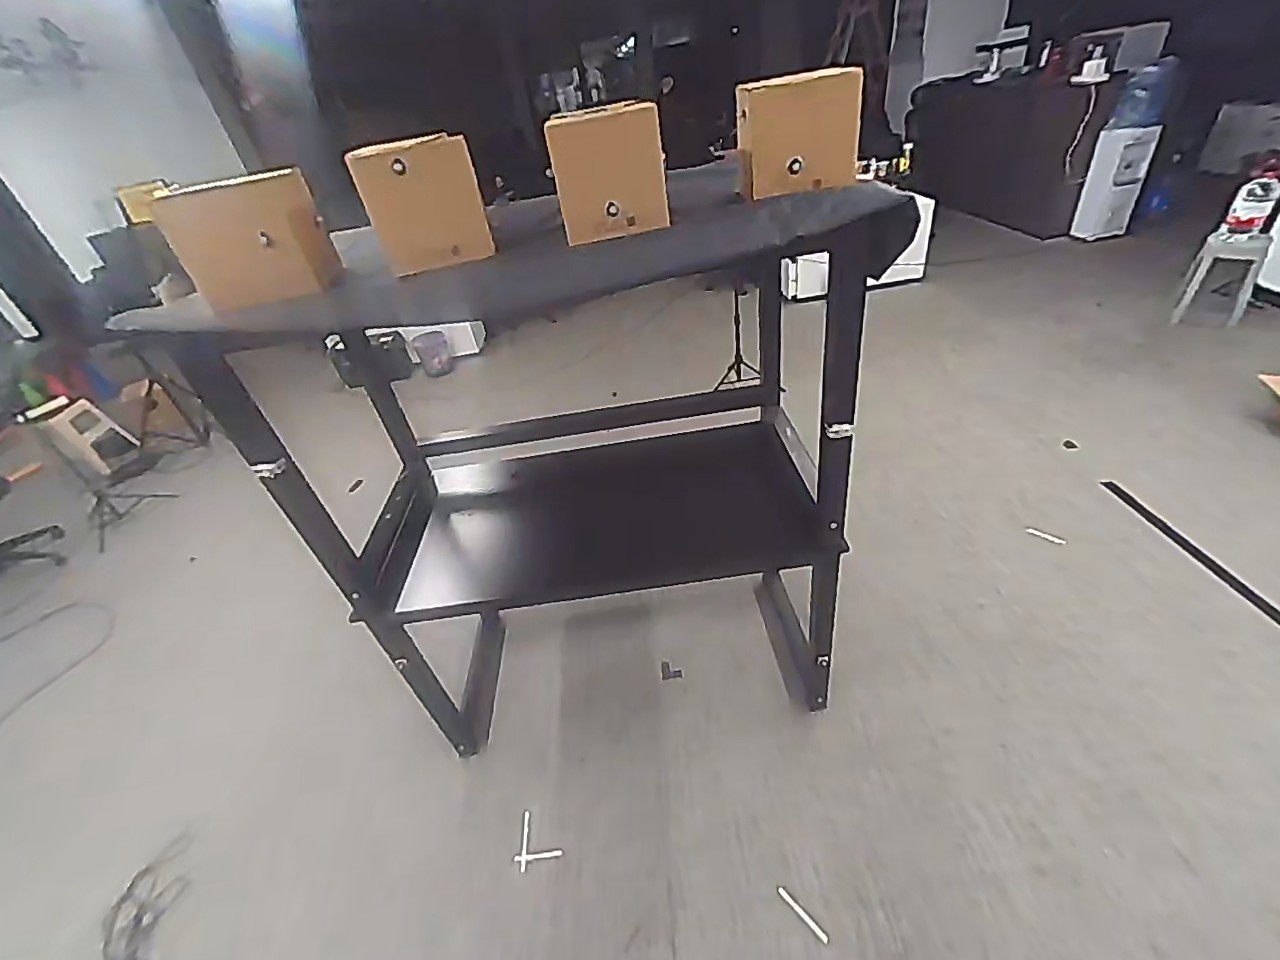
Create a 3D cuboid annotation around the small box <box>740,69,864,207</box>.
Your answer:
[{"bbox_3d":[0.260,-0.571,0.908,0.168,0.176,0.179,-6,37,6],"label":"small box"}]

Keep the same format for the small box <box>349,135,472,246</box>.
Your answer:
[{"bbox_3d":[-0.458,-0.597,1.116,0.168,0.176,0.179,-11,37,0],"label":"small box"}]

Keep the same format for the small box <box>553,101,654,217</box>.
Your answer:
[{"bbox_3d":[-0.070,-0.632,1.070,0.168,0.176,0.179,-10,36,0],"label":"small box"}]

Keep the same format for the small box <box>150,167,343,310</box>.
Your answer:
[{"bbox_3d":[-0.623,-0.398,0.889,0.179,0.176,0.168,-14,36,-6],"label":"small box"}]
